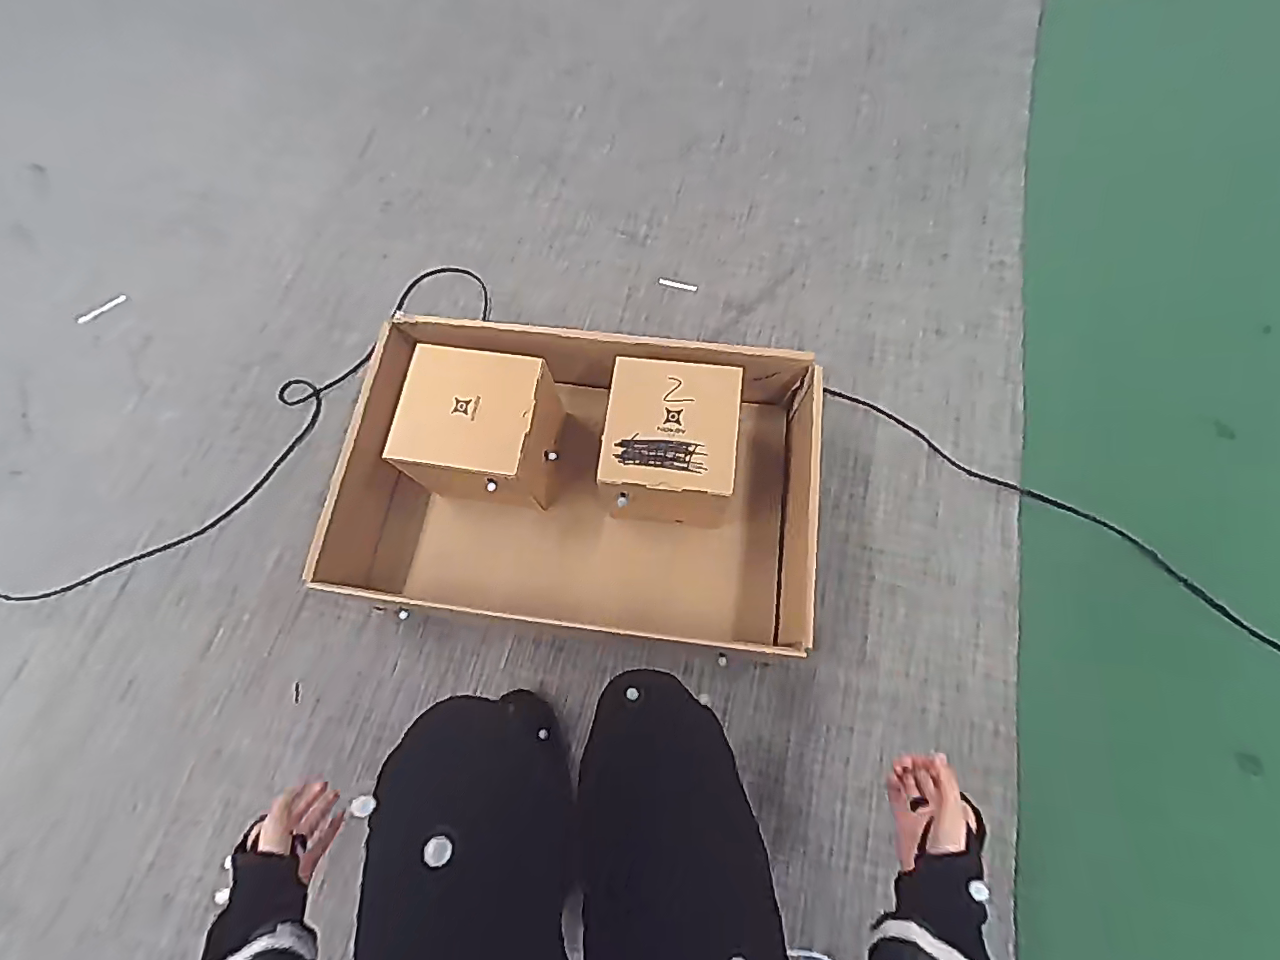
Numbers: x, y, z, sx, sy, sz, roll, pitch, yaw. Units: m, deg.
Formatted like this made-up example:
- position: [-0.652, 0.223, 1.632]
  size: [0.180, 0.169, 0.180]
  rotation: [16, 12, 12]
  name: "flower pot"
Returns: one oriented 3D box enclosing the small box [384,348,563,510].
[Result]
- position: [-0.220, -0.064, 0.767]
  size: [0.179, 0.176, 0.168]
  rotation: [8, 73, 4]
  name: "small box"
